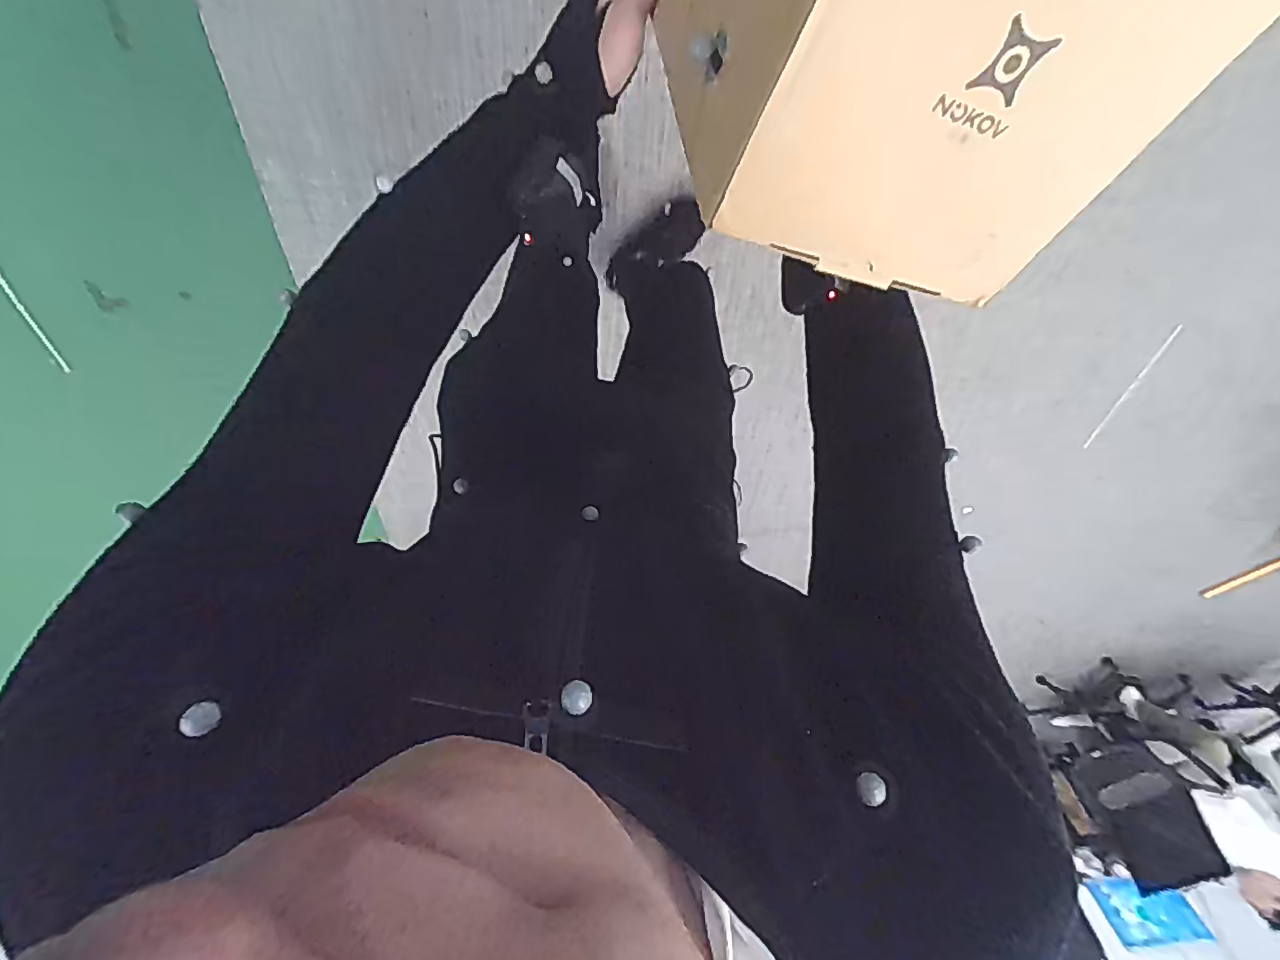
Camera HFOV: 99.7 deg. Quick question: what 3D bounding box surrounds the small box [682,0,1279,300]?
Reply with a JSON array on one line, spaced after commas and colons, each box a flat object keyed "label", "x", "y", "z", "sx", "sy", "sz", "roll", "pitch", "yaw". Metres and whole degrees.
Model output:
[{"label": "small box", "x": 0.126, "y": -0.219, "z": 0.241, "sx": 0.168, "sy": 0.176, "sz": 0.179, "roll": 7, "pitch": 144, "yaw": -18}]

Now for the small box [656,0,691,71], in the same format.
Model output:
[{"label": "small box", "x": 0.112, "y": -0.357, "z": 0.328, "sx": 0.168, "sy": 0.176, "sz": 0.179, "roll": 6, "pitch": 145, "yaw": -17}]
